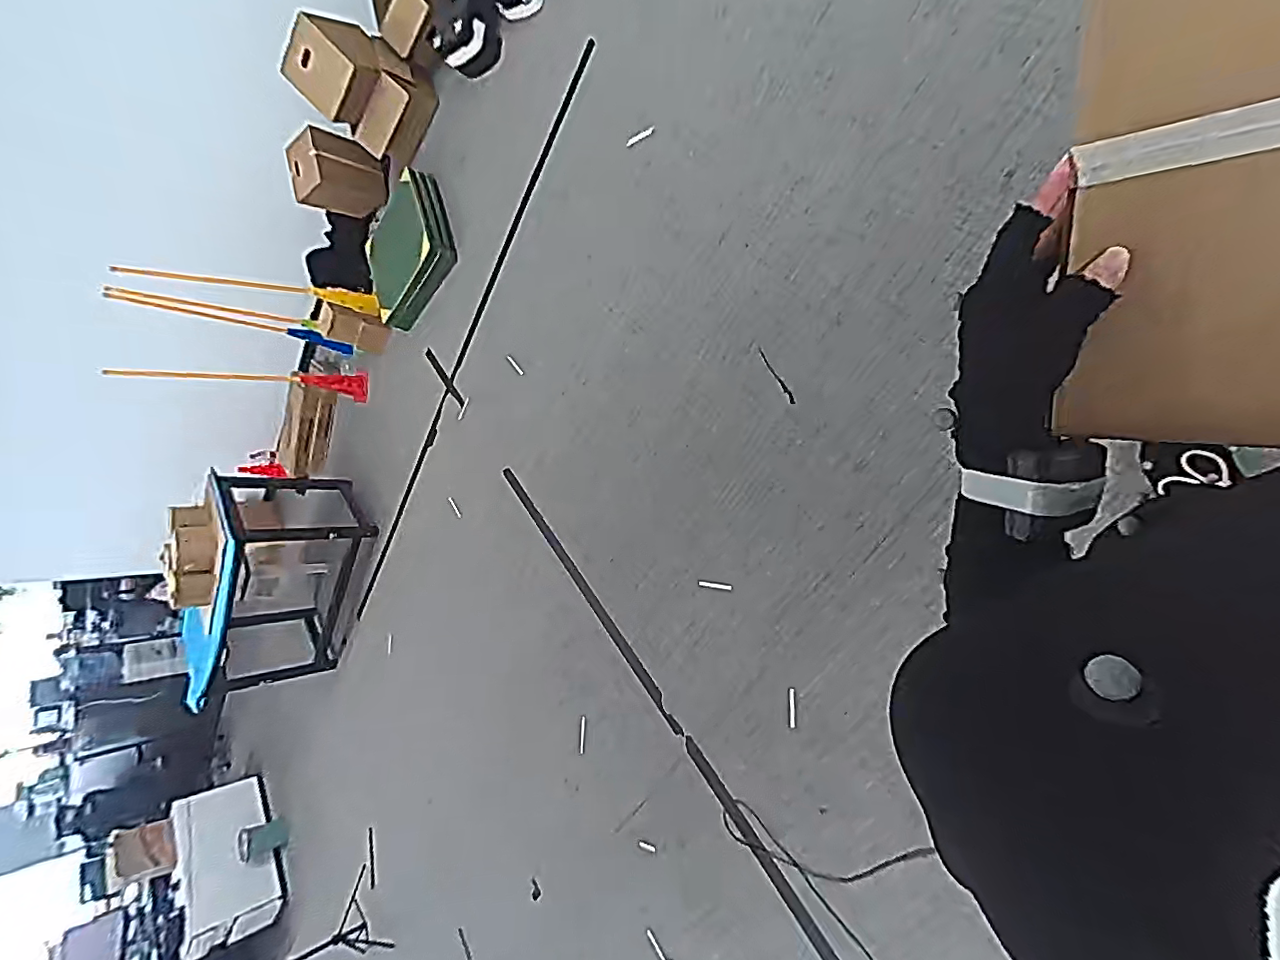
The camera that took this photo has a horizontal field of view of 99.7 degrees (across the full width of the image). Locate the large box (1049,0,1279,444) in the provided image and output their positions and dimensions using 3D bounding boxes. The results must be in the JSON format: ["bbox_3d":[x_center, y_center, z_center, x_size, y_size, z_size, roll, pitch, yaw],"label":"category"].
[{"bbox_3d":[0.489,-0.205,0.278,0.408,0.320,0.320,9,119,42],"label":"large box"}]
